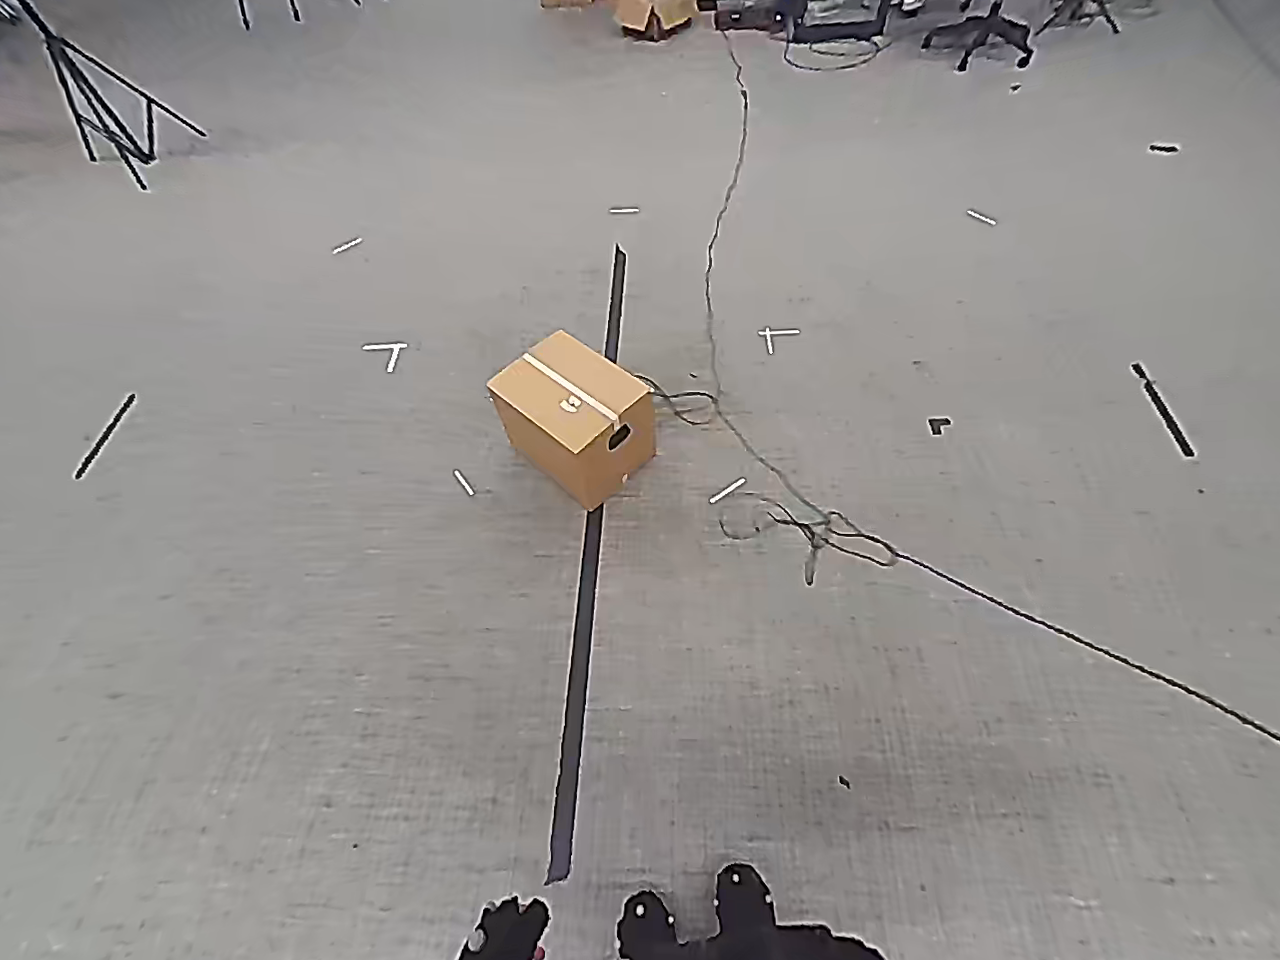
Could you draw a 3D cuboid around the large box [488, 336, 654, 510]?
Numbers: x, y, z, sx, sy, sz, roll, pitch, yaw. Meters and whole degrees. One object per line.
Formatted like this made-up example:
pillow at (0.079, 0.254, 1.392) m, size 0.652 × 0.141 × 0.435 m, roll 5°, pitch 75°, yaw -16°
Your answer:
large box at (-0.204, -0.180, 1.718) m, size 0.408 × 0.320 × 0.320 m, roll 36°, pitch 66°, yaw 23°
